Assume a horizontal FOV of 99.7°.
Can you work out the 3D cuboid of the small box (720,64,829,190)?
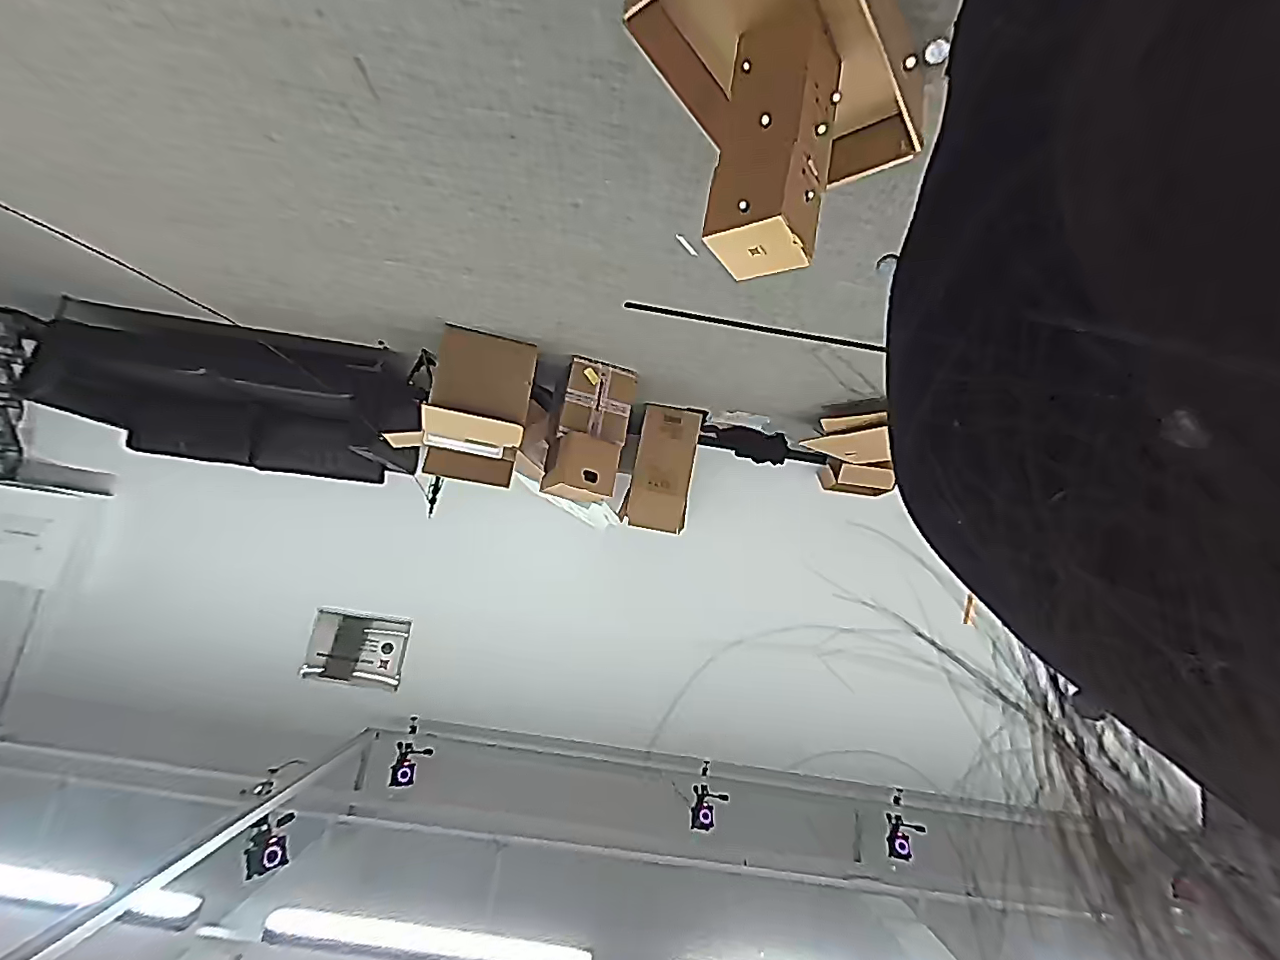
[{"bbox_3d":[0.287,-0.712,1.133,0.179,0.176,0.168,1,167,37],"label":"small box"}]

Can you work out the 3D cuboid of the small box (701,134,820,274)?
[{"bbox_3d":[0.250,-0.555,1.105,0.179,0.176,0.168,2,167,38],"label":"small box"}]
